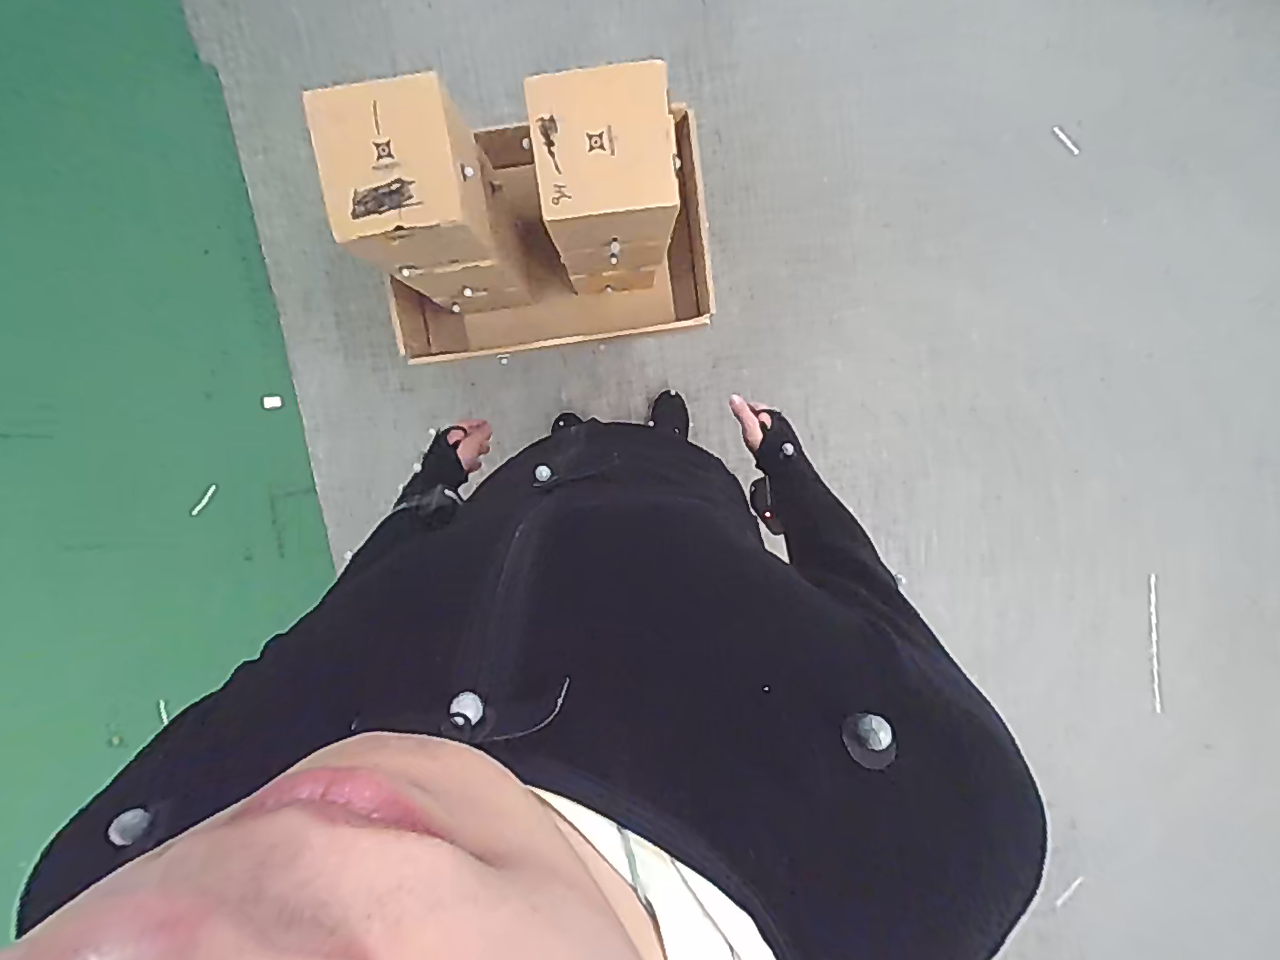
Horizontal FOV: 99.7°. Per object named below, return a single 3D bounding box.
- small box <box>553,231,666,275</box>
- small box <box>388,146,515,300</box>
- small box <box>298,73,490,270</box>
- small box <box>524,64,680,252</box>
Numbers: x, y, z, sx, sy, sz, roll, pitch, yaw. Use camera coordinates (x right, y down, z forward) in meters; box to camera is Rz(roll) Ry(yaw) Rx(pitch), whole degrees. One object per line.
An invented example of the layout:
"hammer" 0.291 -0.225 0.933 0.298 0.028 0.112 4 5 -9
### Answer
"small box" -0.056 -0.448 0.899 0.179 0.176 0.168 -6 100 -2
"small box" -0.314 -0.412 0.892 0.168 0.176 0.179 -8 98 0
"small box" -0.313 -0.396 0.728 0.168 0.176 0.179 -10 97 -1
"small box" -0.050 -0.423 0.737 0.179 0.176 0.168 -7 100 -2
